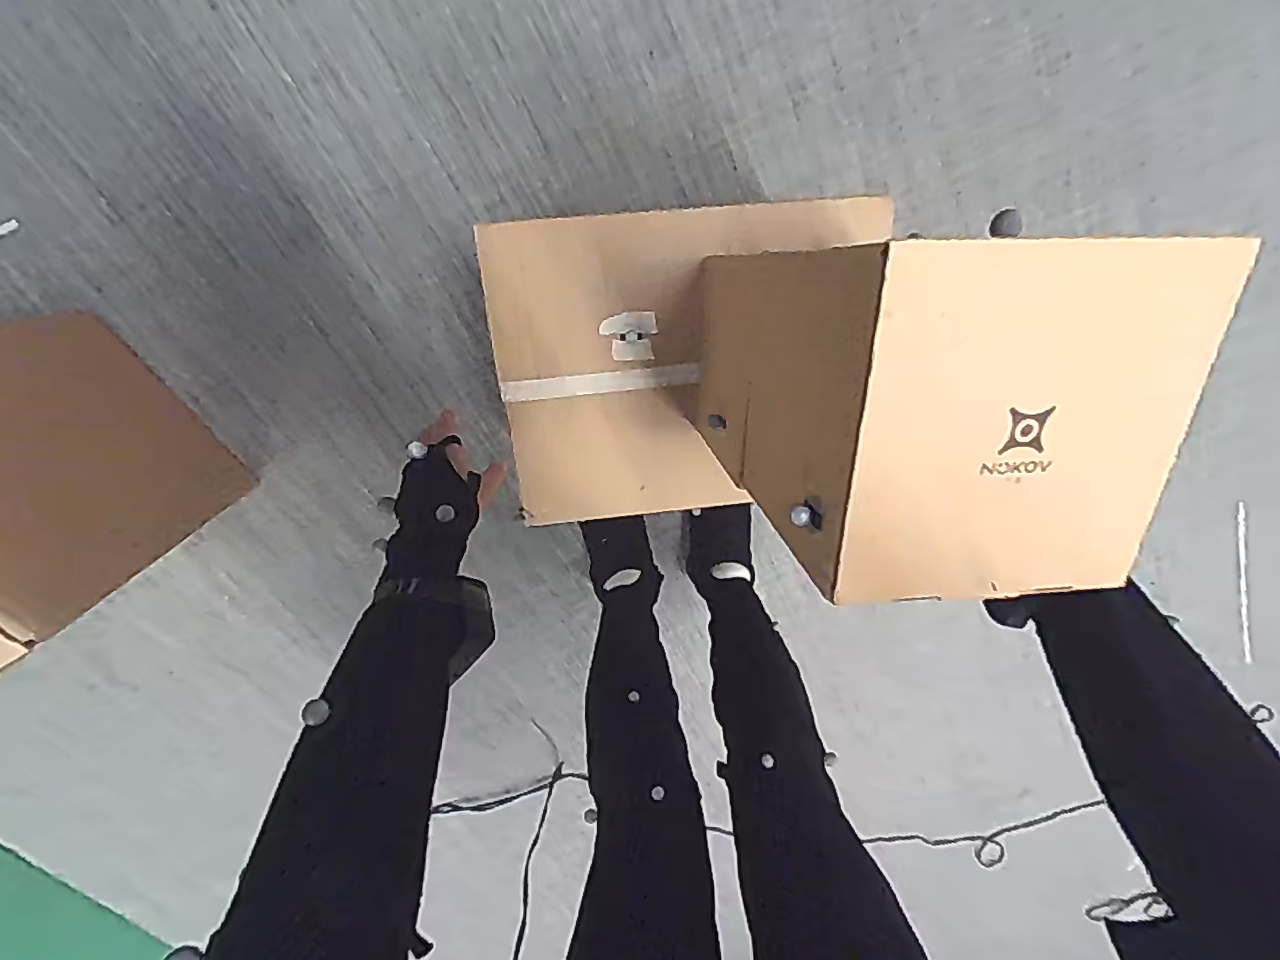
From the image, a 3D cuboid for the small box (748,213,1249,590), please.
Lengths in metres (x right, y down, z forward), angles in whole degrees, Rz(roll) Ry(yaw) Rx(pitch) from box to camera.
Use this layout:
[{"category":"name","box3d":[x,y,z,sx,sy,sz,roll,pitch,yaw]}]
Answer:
[{"category":"small box","box3d":[0.170,-0.057,0.326,0.168,0.176,0.179,-3,113,-5]}]
